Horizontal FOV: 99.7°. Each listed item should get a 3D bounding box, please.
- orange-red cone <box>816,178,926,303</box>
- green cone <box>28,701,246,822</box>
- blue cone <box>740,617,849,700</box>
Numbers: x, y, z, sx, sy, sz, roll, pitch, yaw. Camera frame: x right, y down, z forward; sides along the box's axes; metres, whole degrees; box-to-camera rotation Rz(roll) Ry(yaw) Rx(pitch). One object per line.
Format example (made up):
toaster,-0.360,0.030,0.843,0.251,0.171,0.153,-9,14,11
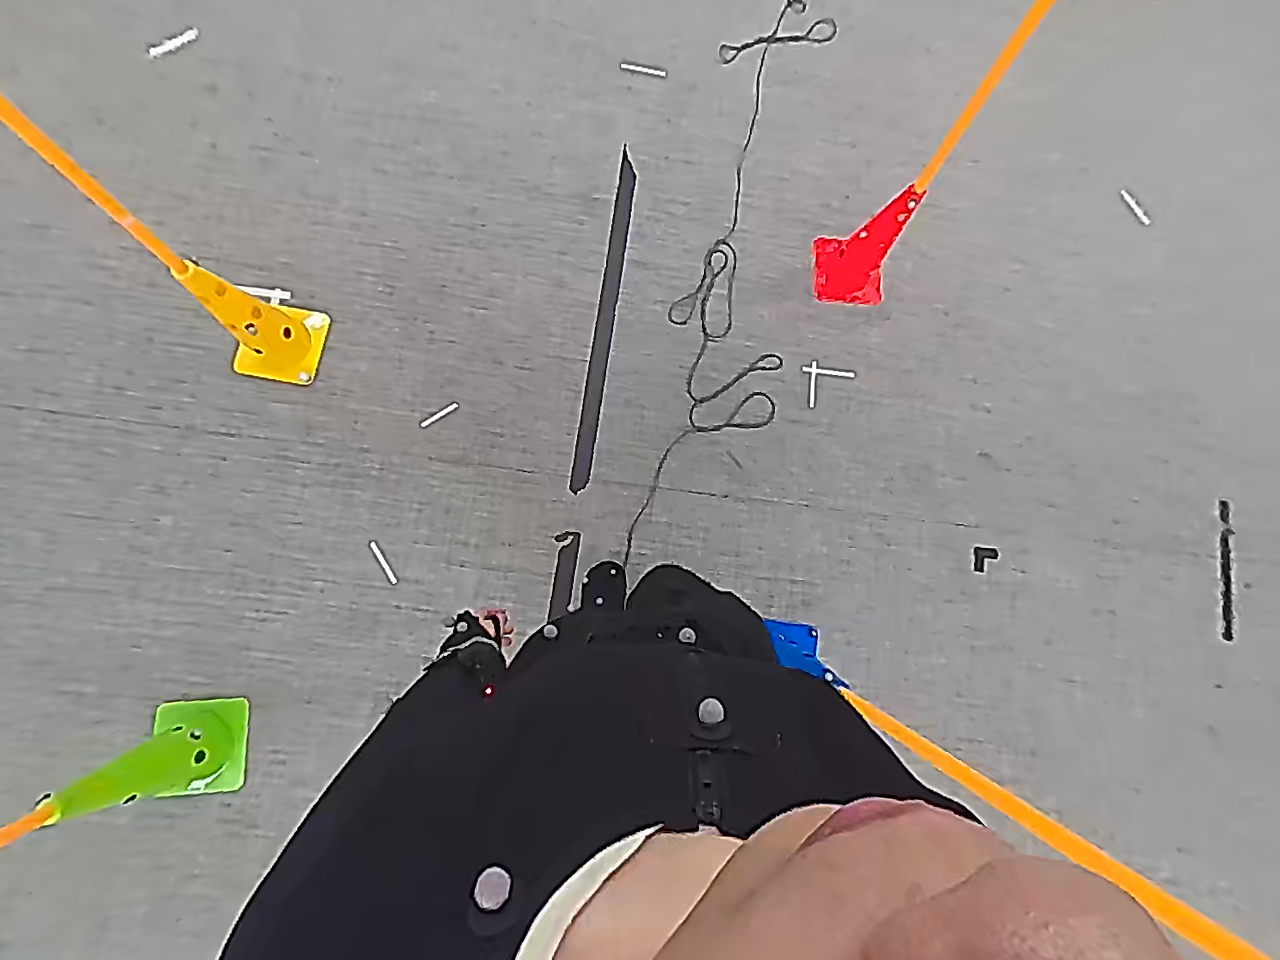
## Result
orange-red cone,0.620,-0.640,1.401,0.199,0.360,0.198,3,80,-3
green cone,-0.982,0.574,1.049,0.200,0.368,0.202,-2,79,-6
blue cone,0.365,0.424,1.211,0.193,0.380,0.192,11,79,-4
